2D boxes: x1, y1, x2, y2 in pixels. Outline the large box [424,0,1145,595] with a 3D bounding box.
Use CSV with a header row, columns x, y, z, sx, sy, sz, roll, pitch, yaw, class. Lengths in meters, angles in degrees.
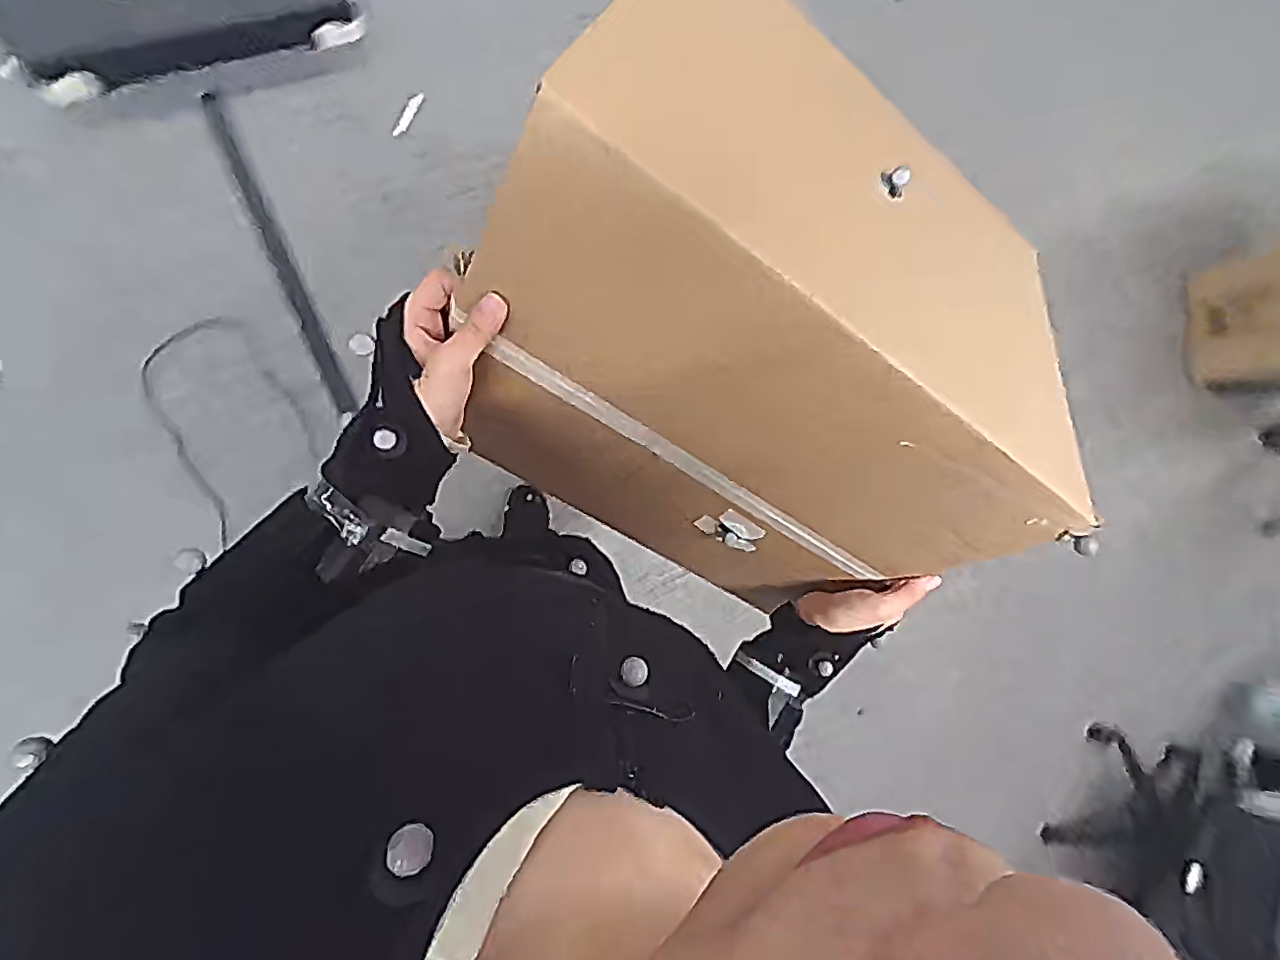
x,y,z,sx,sy,sz,roll,pitch,yaw,class
0.094,-0.147,0.460,0.408,0.320,0.320,28,57,-18,large box
